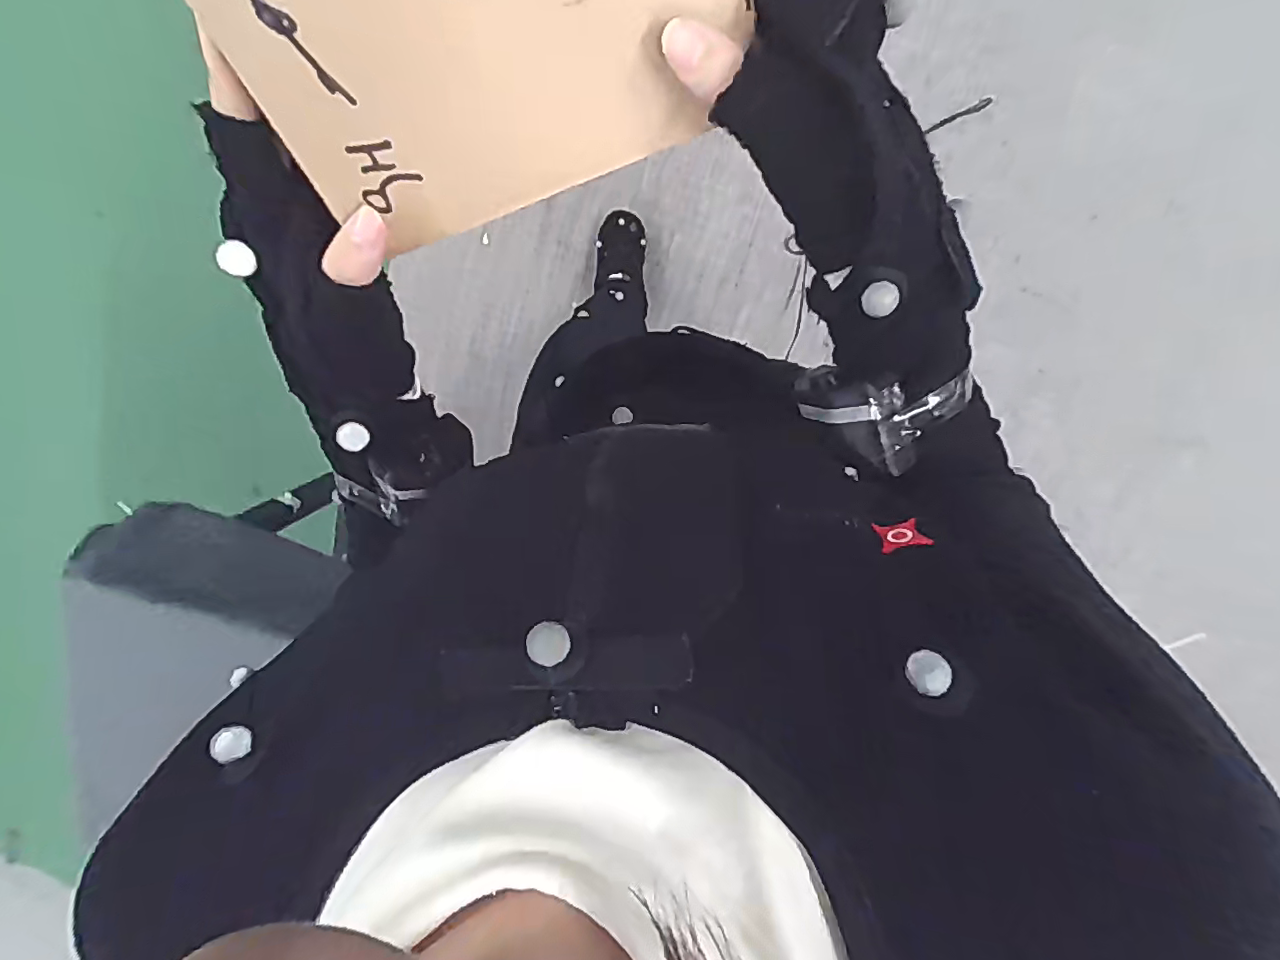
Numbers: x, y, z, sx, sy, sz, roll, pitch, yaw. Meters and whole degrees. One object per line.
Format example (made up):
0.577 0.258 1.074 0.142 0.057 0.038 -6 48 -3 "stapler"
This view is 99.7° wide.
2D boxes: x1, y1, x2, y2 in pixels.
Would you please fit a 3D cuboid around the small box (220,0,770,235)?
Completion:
-0.066 -0.235 0.218 0.179 0.176 0.168 -19 134 4 "small box"

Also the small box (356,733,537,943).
-0.270 0.503 0.782 0.179 0.176 0.168 19 109 -1 "small box"
